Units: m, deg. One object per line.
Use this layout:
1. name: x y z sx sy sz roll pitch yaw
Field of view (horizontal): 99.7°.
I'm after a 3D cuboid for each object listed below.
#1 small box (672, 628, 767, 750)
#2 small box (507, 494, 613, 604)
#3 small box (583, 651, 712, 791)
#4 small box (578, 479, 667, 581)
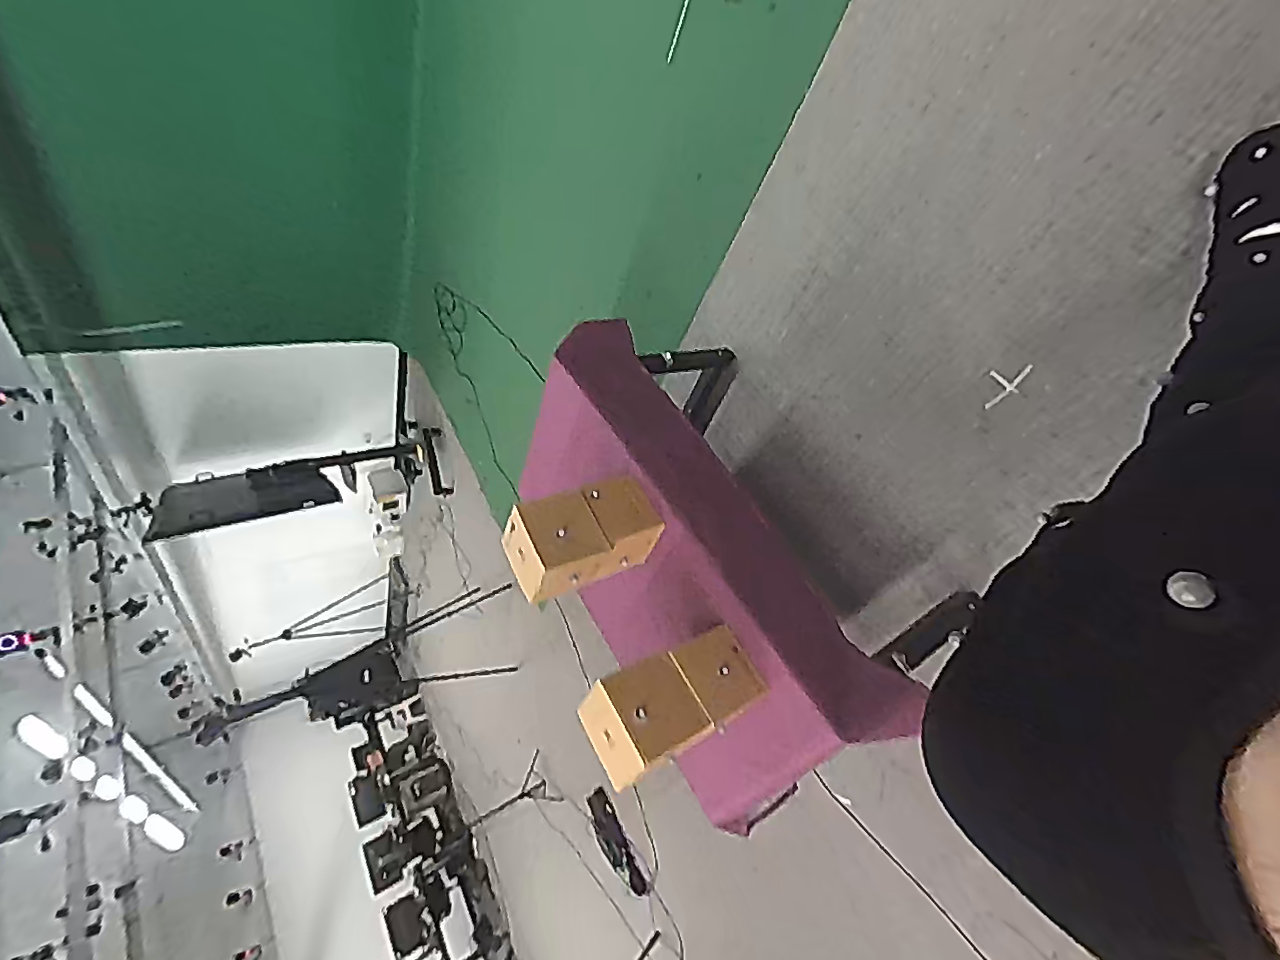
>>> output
1. small box: 0.148 0.450 1.177 0.168 0.176 0.179 56 141 26
2. small box: -0.185 0.155 1.254 0.179 0.176 0.168 58 141 23
3. small box: 0.015 0.478 1.087 0.179 0.176 0.168 55 139 27
4. small box: -0.059 0.119 1.353 0.179 0.176 0.168 55 140 27
